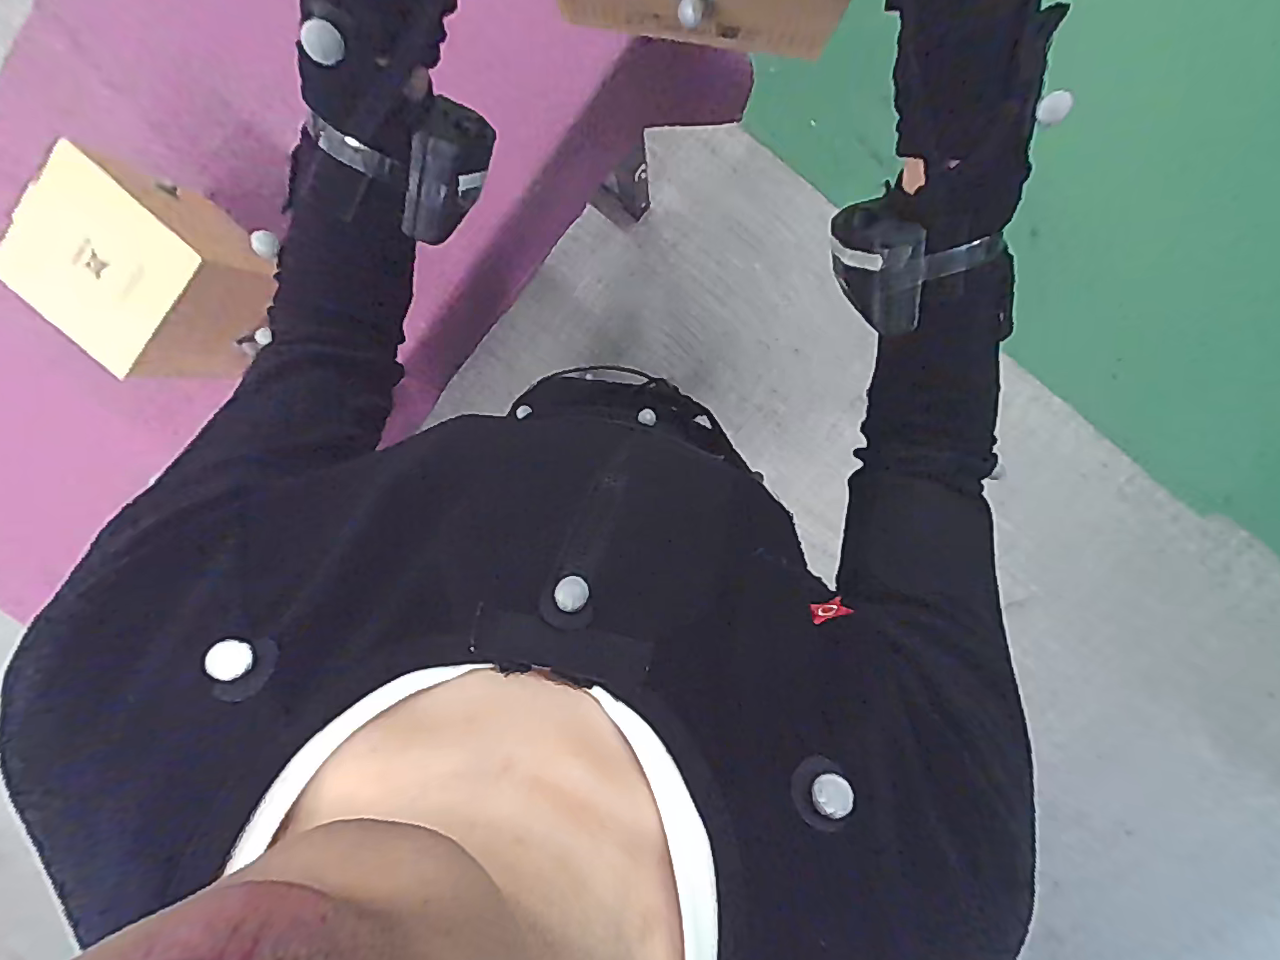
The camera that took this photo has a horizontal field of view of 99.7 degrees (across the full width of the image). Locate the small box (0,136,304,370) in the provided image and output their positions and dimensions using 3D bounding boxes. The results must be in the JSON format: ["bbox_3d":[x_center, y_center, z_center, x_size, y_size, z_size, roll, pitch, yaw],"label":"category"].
[{"bbox_3d":[-0.554,-0.243,0.635,0.179,0.176,0.168,42,100,-6],"label":"small box"}]

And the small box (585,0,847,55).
[{"bbox_3d":[0.046,-0.346,0.245,0.168,0.176,0.179,10,105,0],"label":"small box"}]
